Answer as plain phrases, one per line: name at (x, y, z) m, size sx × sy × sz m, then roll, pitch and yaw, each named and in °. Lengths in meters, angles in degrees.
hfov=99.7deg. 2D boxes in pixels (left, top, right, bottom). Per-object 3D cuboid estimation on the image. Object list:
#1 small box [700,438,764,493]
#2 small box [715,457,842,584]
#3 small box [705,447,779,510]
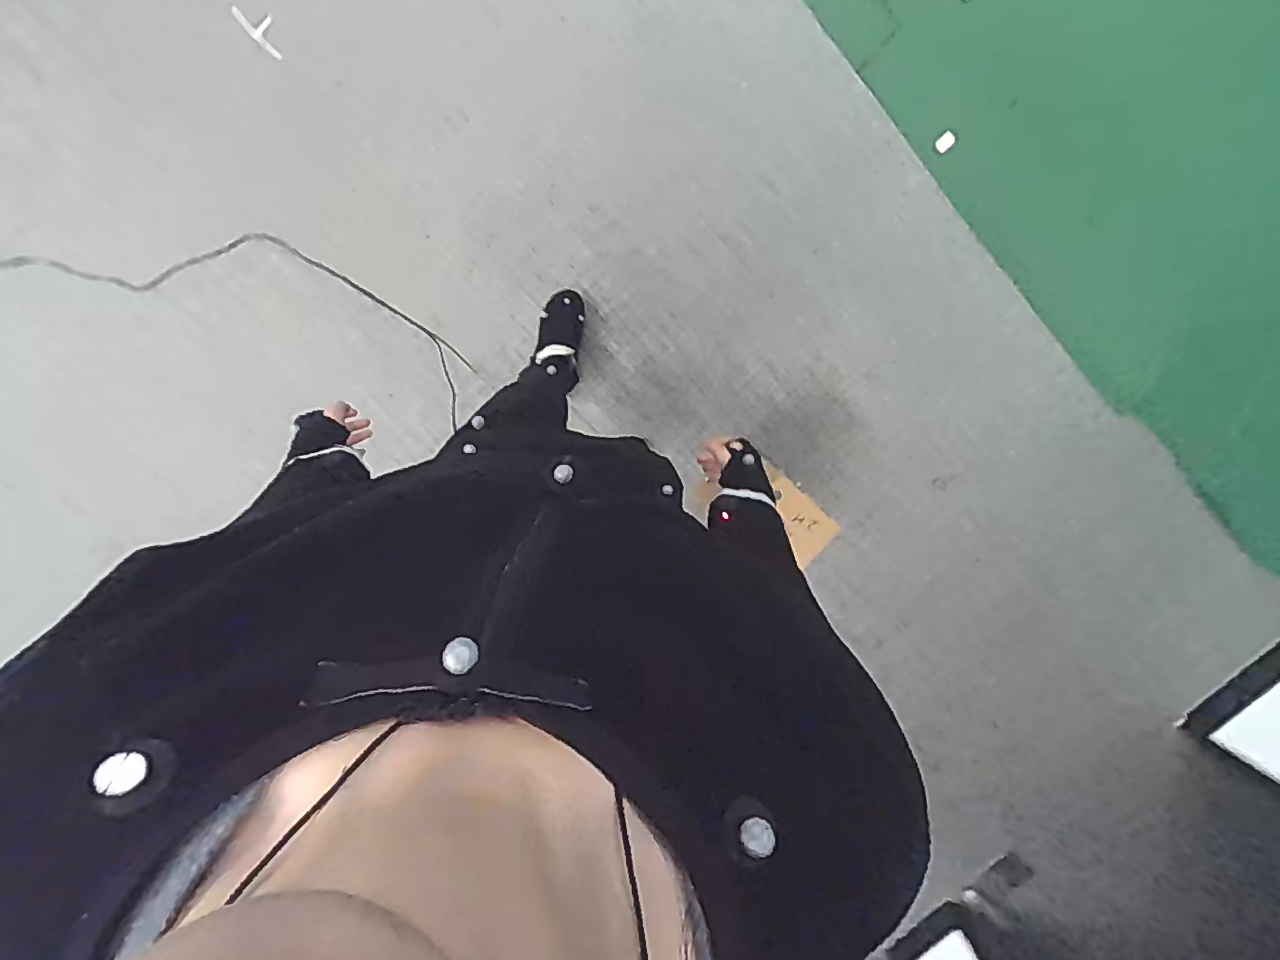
small box at (0.276, 0.008, 1.434) m, size 0.168 × 0.176 × 0.179 m, roll 41°, pitch 96°, yaw -9°
small box at (0.270, 0.075, 1.111) m, size 0.168 × 0.176 × 0.179 m, roll 41°, pitch 96°, yaw -10°
small box at (0.272, 0.040, 1.272) m, size 0.168 × 0.176 × 0.179 m, roll 40°, pitch 96°, yaw -8°
